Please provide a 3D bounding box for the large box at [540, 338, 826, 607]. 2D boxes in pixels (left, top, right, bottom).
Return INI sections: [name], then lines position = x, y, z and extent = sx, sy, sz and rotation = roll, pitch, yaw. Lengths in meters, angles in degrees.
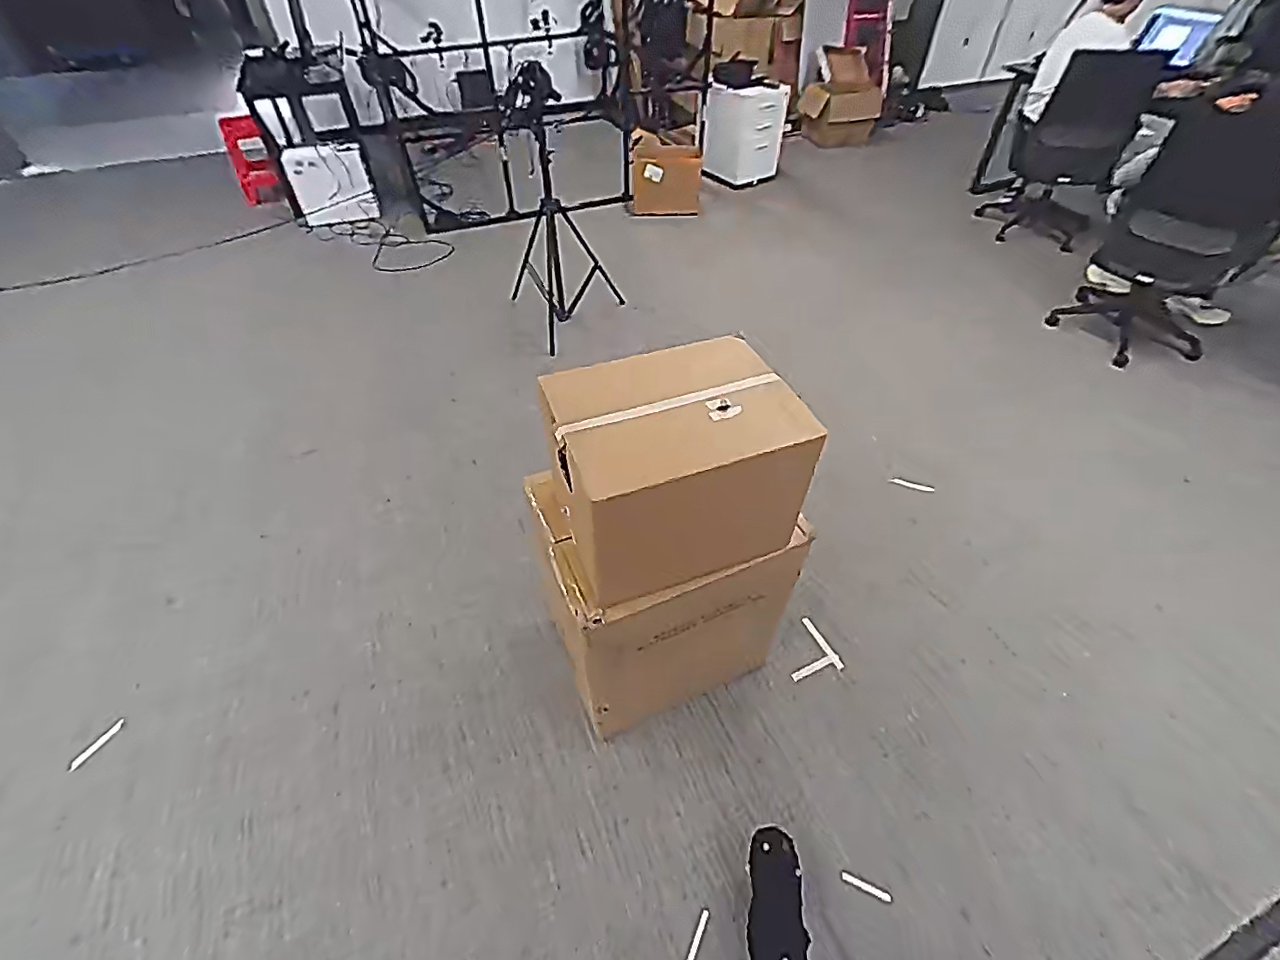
[large box]
position = 0.059, -0.021, 1.015
extent = 0.408, 0.320, 0.320
rotation = -16, 50, -15
